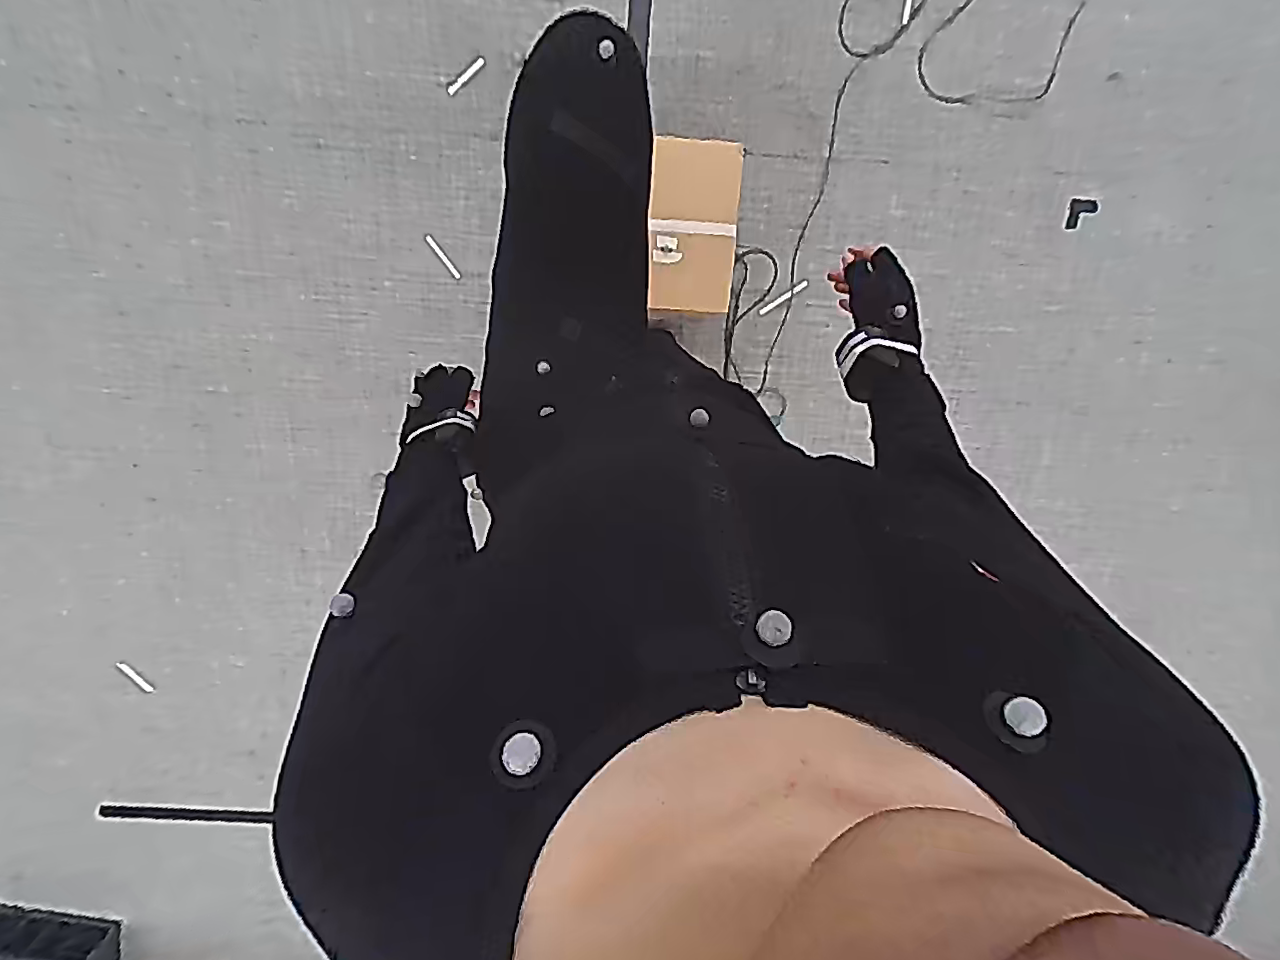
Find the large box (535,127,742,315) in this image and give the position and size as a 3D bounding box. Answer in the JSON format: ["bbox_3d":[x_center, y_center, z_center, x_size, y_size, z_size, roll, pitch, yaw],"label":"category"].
[{"bbox_3d":[-0.014,-0.547,1.210,0.408,0.320,0.320,3,105,-3],"label":"large box"}]
